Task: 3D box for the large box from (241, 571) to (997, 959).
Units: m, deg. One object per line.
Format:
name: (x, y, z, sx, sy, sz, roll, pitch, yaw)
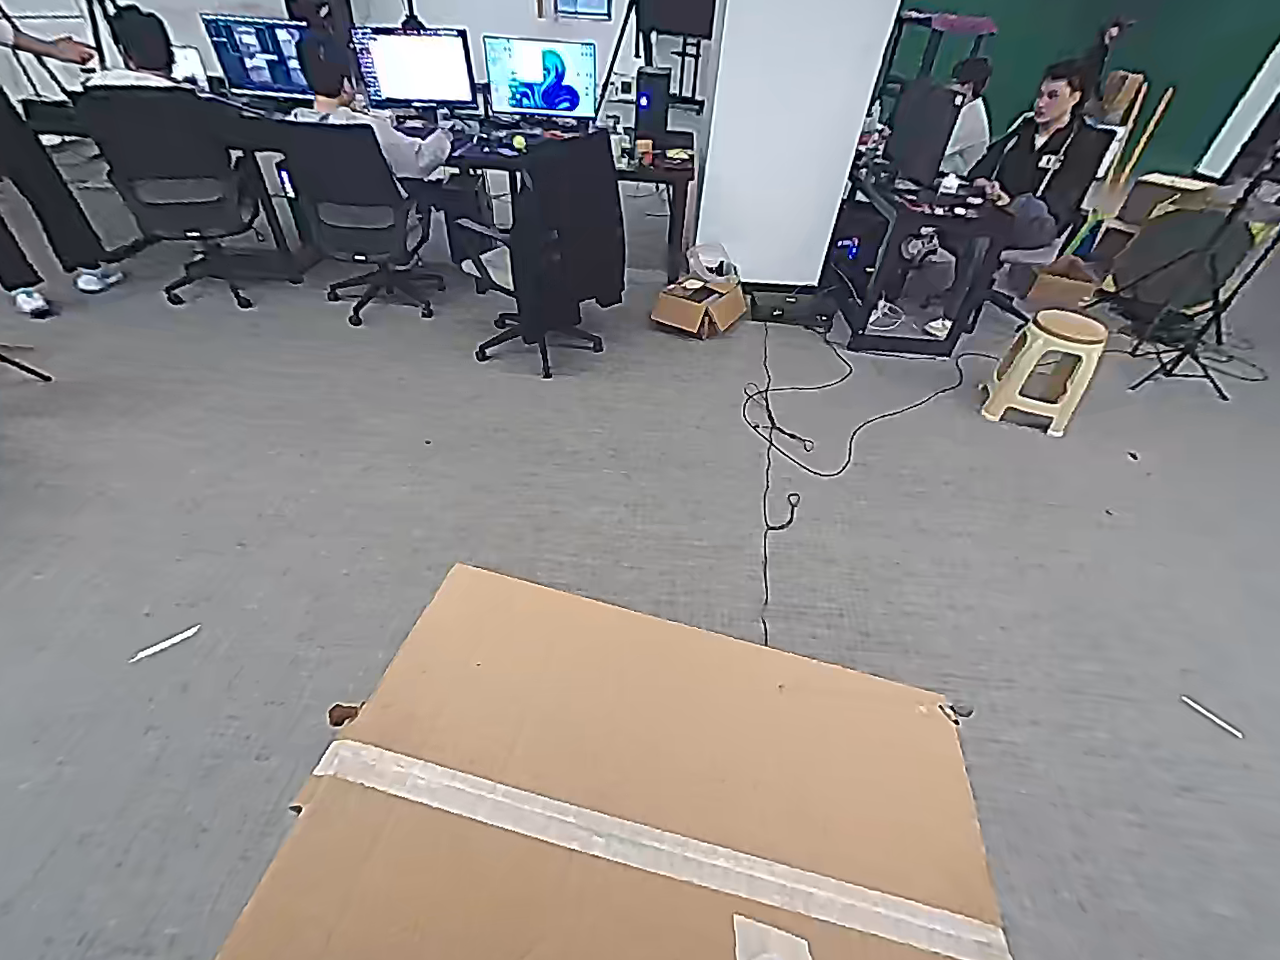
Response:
large box: (-0.010, 0.327, 0.428, 0.408, 0.320, 0.320, 15, 43, 3)
